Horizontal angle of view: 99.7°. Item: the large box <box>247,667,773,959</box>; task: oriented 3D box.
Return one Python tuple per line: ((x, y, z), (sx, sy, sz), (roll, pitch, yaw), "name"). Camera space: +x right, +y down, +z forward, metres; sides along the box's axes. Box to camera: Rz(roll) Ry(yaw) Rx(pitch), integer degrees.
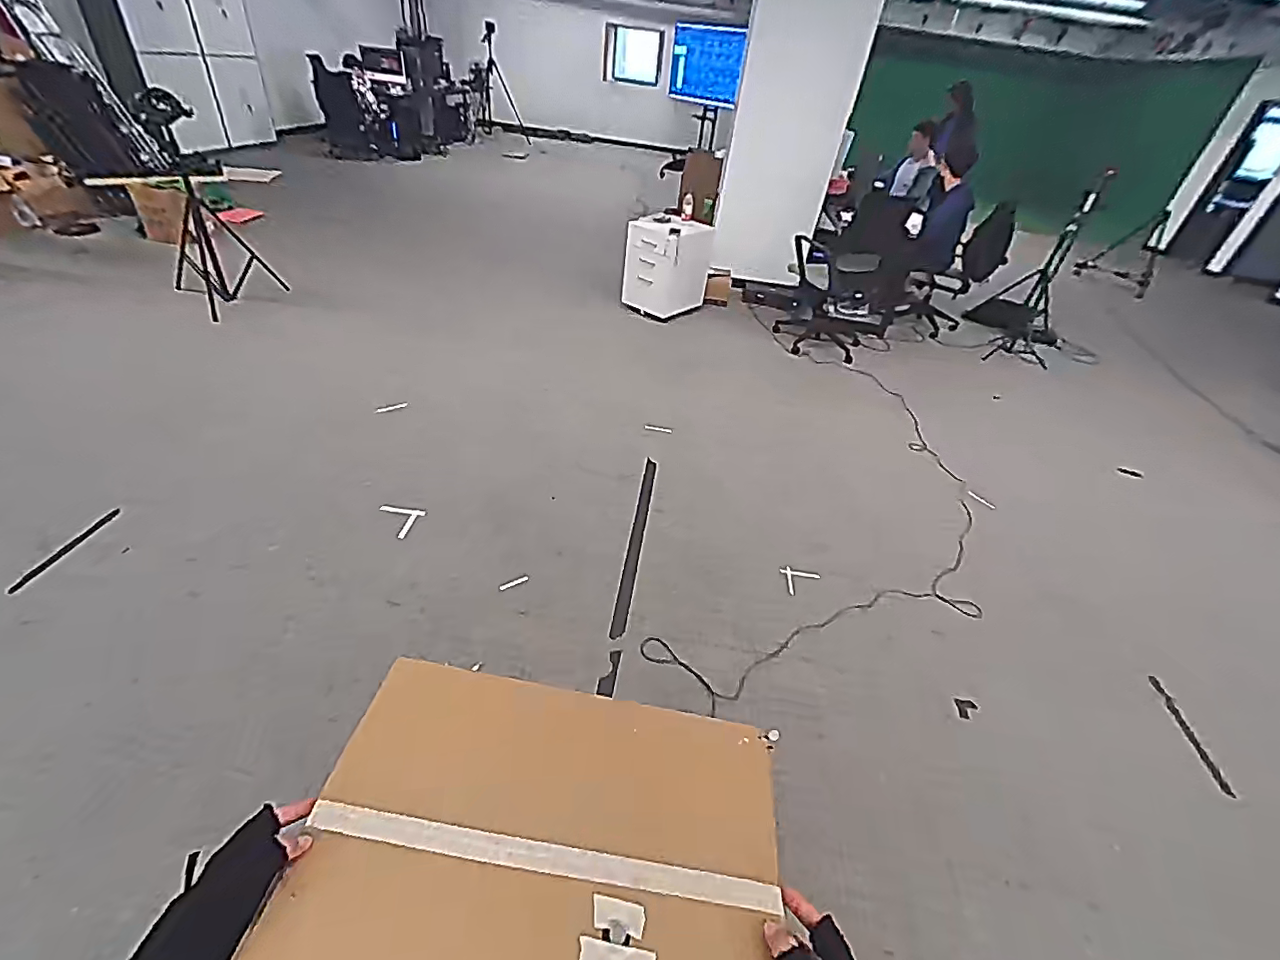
((-0.108, 0.445, 0.560), (0.408, 0.320, 0.320), (12, 37, -1), "large box")
